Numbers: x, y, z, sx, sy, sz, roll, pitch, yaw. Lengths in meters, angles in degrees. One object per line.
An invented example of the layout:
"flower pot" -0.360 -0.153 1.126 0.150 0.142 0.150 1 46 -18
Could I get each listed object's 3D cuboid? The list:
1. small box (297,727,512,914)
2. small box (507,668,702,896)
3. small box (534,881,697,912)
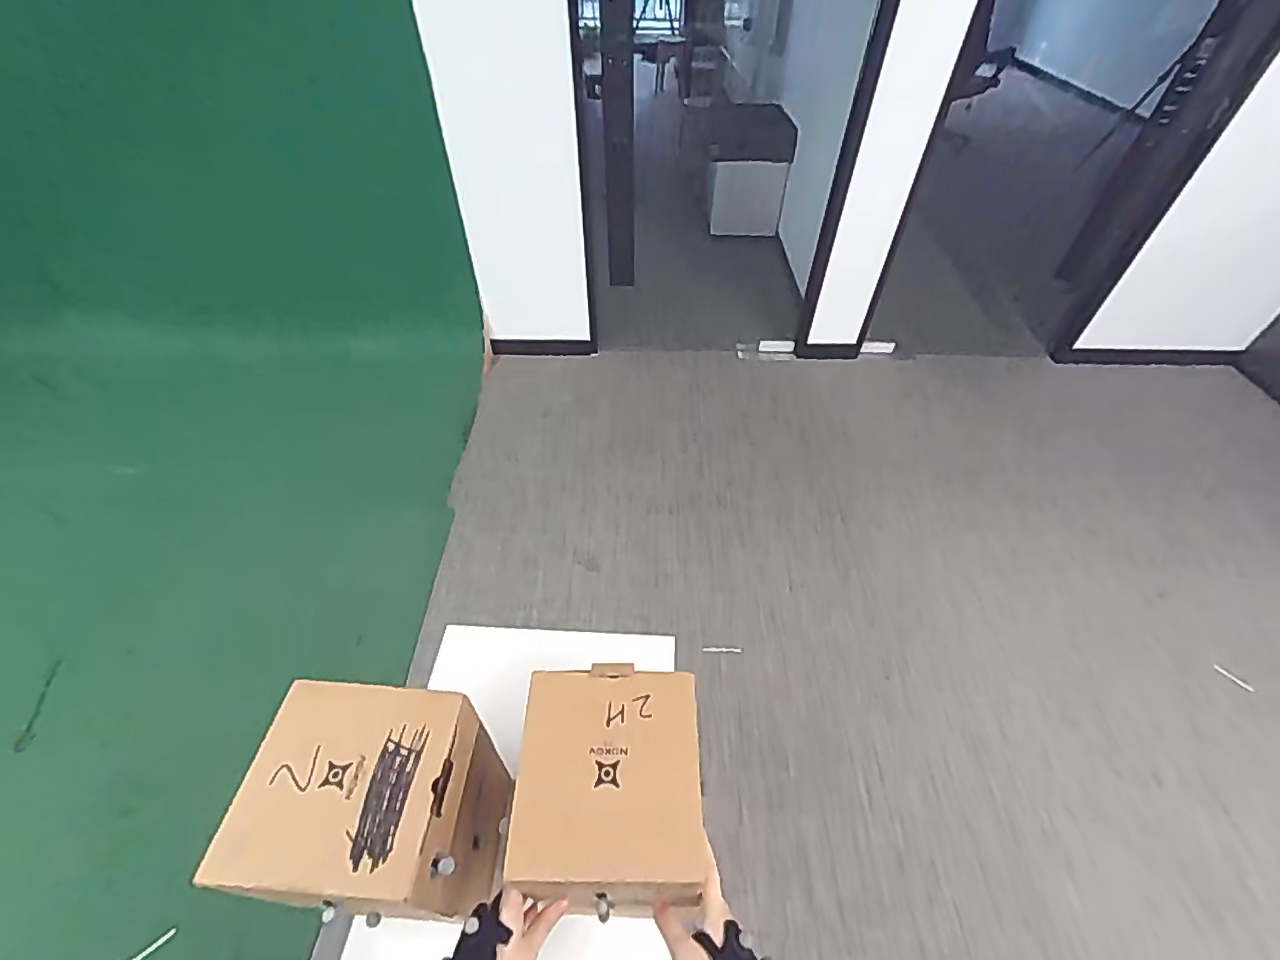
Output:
"small box" -0.270 0.425 0.671 0.179 0.176 0.168 5 48 0
"small box" -0.027 0.312 0.556 0.168 0.176 0.179 1 48 0
"small box" -0.022 0.426 0.675 0.179 0.176 0.168 2 48 1
